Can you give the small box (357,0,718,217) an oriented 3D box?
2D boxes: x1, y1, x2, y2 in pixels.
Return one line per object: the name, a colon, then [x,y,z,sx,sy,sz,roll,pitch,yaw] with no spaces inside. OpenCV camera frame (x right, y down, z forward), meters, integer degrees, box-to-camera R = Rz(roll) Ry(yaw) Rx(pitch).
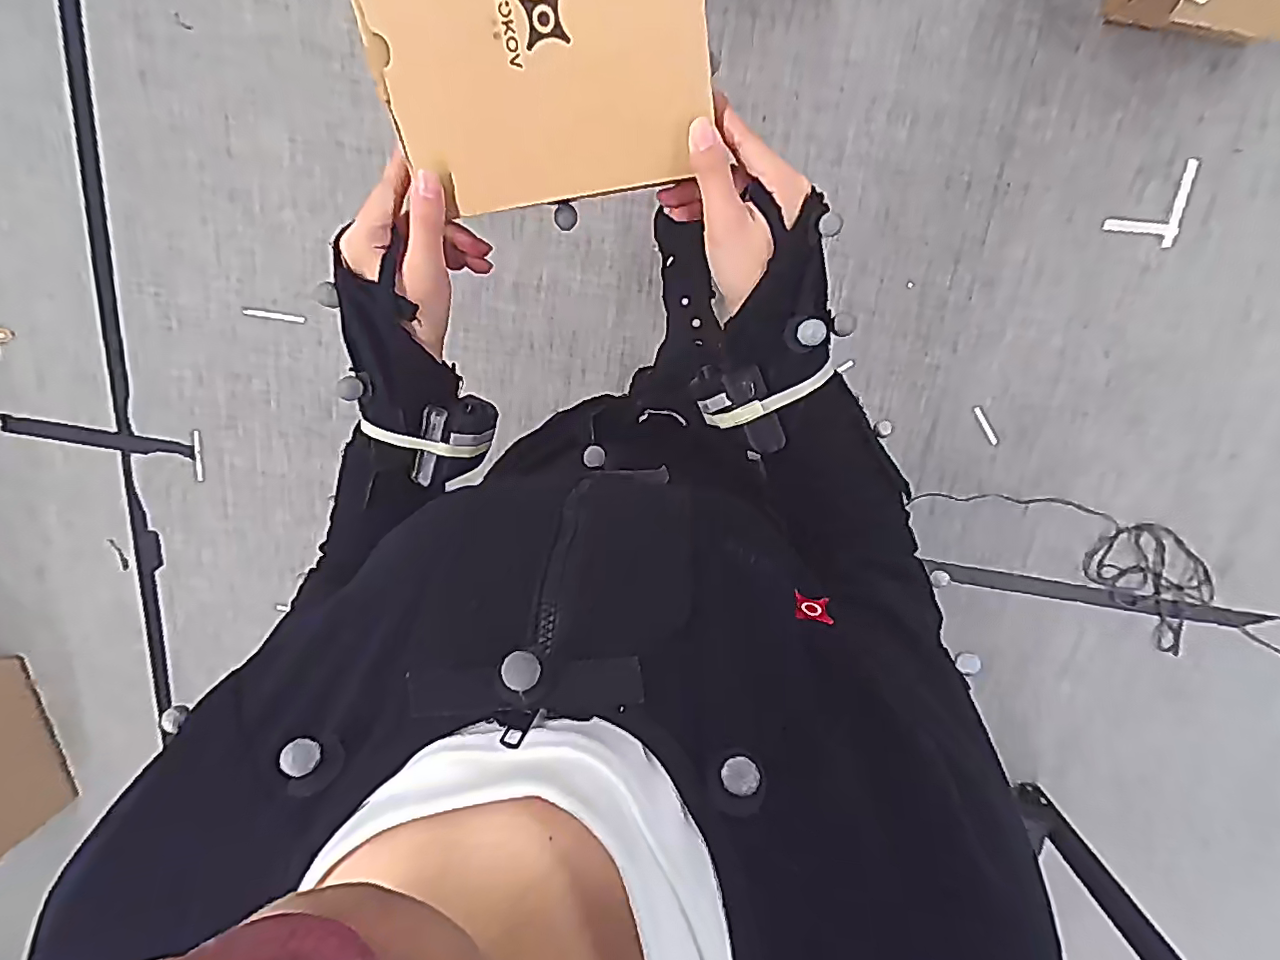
small box: [-0.054,-0.274,0.343,0.179,0.176,0.168,-8,118,4]
